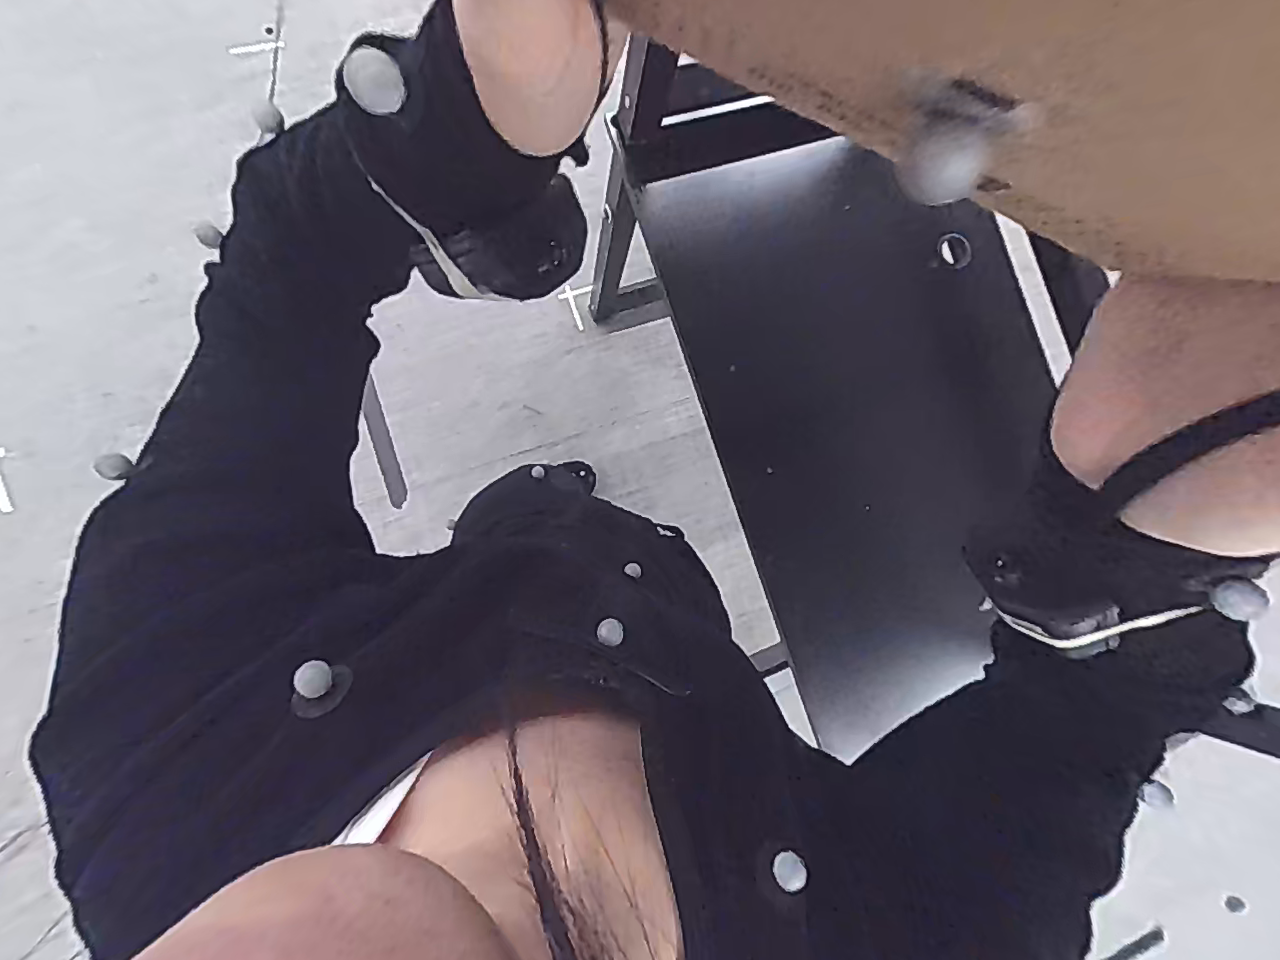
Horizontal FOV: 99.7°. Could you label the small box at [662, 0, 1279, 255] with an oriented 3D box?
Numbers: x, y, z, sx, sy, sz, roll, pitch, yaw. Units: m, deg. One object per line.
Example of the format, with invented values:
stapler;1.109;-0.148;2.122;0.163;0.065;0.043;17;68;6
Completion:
small box;0.097;-0.133;0.038;0.168;0.176;0.179;22;113;-6
